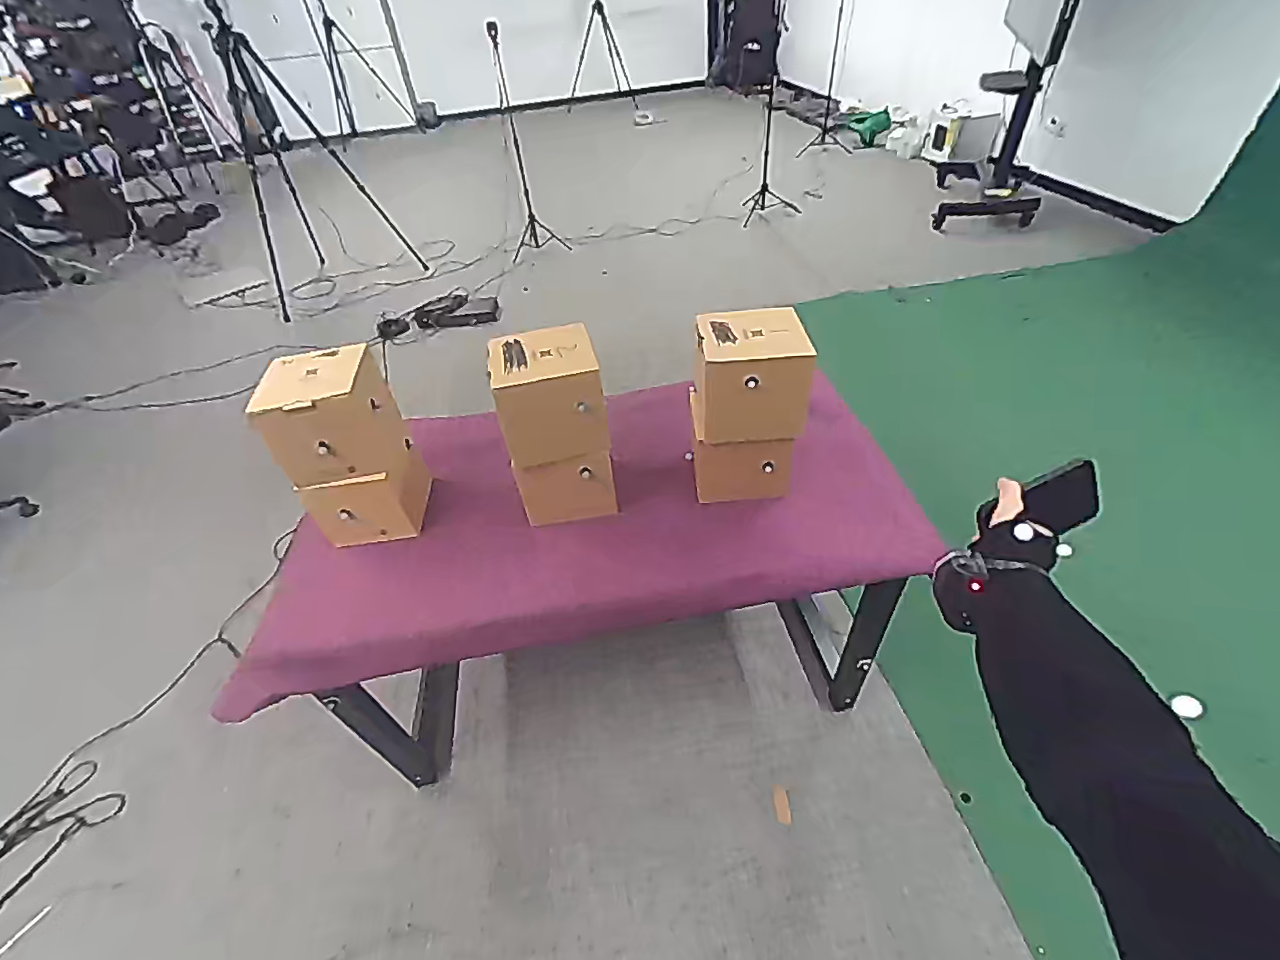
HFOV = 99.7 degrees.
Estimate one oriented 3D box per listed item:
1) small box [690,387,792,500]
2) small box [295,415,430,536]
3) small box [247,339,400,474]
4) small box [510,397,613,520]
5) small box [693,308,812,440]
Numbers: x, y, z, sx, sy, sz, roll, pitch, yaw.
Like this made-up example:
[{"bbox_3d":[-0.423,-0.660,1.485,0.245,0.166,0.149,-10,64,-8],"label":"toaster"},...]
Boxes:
[{"bbox_3d":[0.190,-0.074,1.076,0.179,0.176,0.168,-4,44,4],"label":"small box"},{"bbox_3d":[-0.538,-0.003,1.080,0.168,0.176,0.179,-7,44,-1],"label":"small box"},{"bbox_3d":[-0.551,-0.127,0.973,0.168,0.176,0.179,-10,45,-5],"label":"small box"},{"bbox_3d":[-0.149,-0.041,1.076,0.179,0.176,0.168,-8,44,-1],"label":"small box"},{"bbox_3d":[0.188,-0.183,0.952,0.179,0.176,0.168,-3,44,2],"label":"small box"}]
